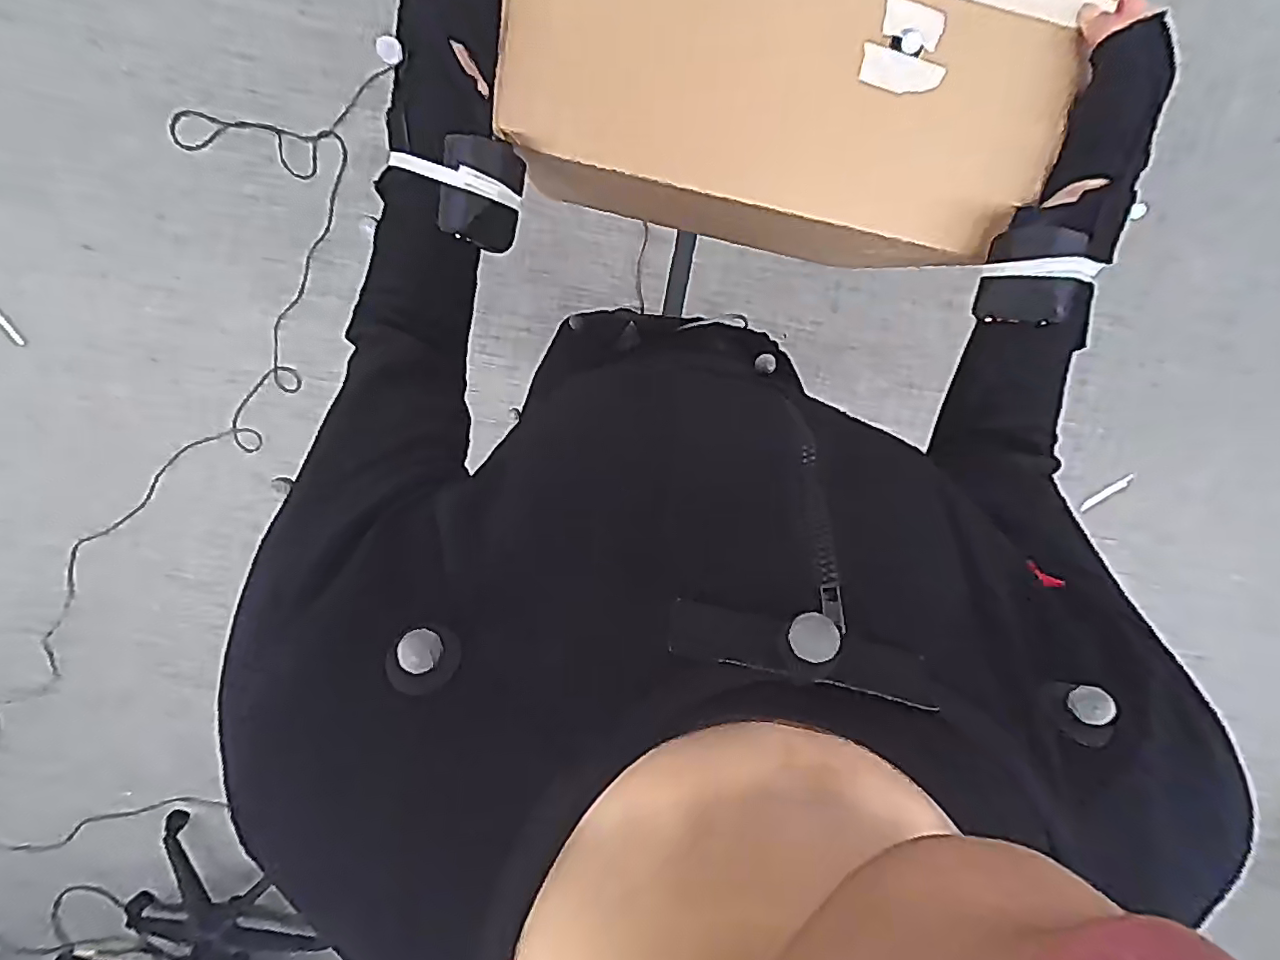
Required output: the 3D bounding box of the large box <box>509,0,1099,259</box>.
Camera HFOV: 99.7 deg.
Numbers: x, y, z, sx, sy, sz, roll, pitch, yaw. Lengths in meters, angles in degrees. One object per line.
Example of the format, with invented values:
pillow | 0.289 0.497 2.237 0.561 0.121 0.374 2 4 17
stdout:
large box | 0.114 -0.407 0.499 0.408 0.320 0.320 9 111 -8
